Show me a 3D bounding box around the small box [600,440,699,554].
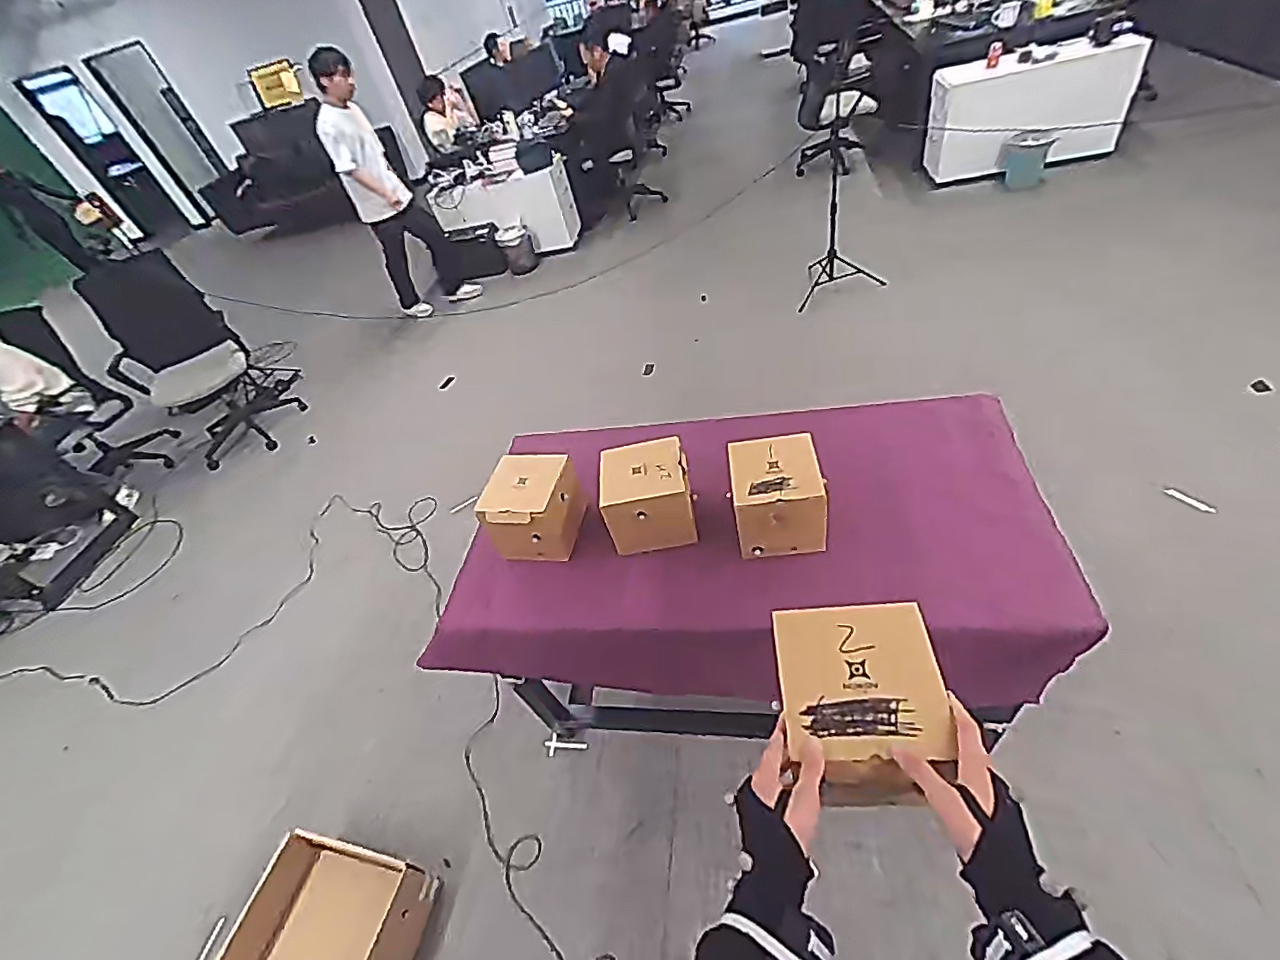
[{"bbox_3d":[0.022,0.042,1.165,0.179,0.176,0.168,-10,45,8],"label":"small box"}]

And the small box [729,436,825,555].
[{"bbox_3d":[0.276,0.038,1.088,0.168,0.176,0.179,-7,44,11],"label":"small box"}]

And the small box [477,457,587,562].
[{"bbox_3d":[-0.232,0.068,1.221,0.168,0.176,0.179,1,46,17],"label":"small box"}]
